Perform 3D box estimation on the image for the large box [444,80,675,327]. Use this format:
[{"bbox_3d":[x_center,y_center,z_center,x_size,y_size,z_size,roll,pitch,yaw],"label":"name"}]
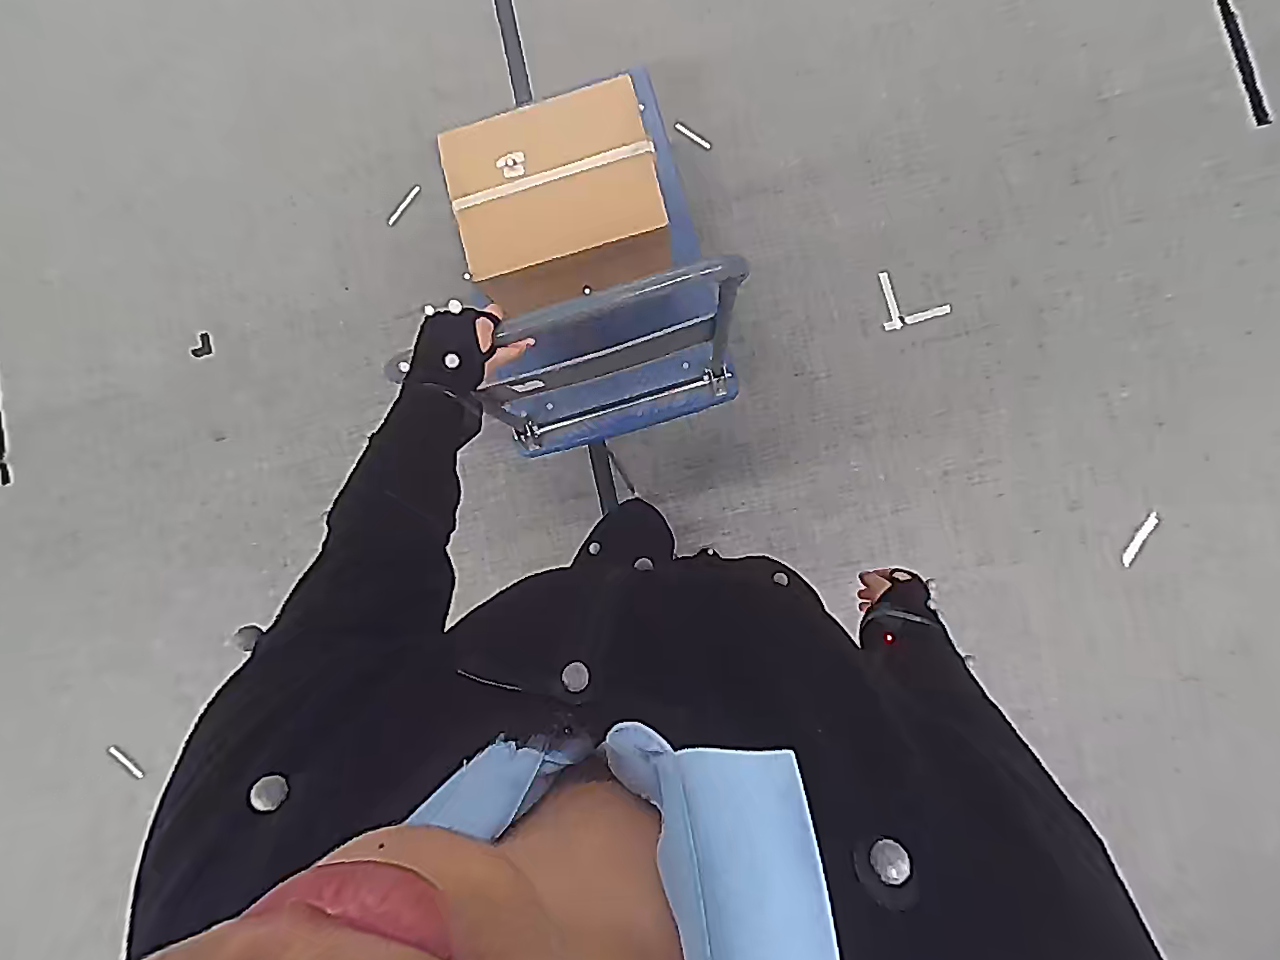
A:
[{"bbox_3d":[-0.156,-0.585,1.218,0.408,0.320,0.320,-15,86,6],"label":"large box"}]
